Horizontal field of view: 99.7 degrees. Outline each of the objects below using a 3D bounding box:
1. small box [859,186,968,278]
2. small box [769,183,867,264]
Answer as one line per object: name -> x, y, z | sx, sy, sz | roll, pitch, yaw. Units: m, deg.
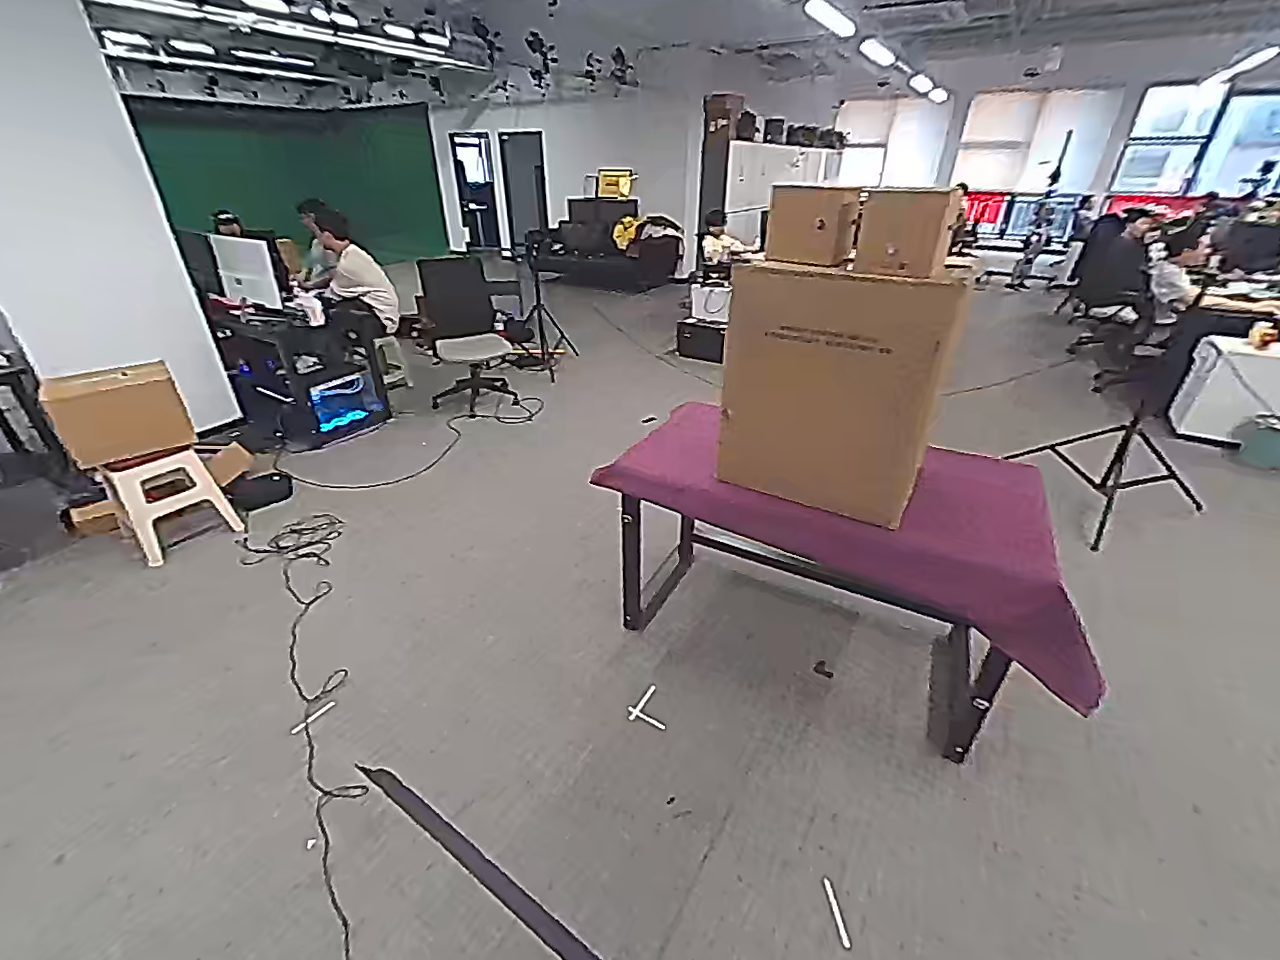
small box -> 0.602, -0.554, 1.199 | 0.168, 0.176, 0.179 | 18, 35, 30
small box -> 0.437, -0.636, 1.338 | 0.179, 0.176, 0.168 | 19, 34, 28
